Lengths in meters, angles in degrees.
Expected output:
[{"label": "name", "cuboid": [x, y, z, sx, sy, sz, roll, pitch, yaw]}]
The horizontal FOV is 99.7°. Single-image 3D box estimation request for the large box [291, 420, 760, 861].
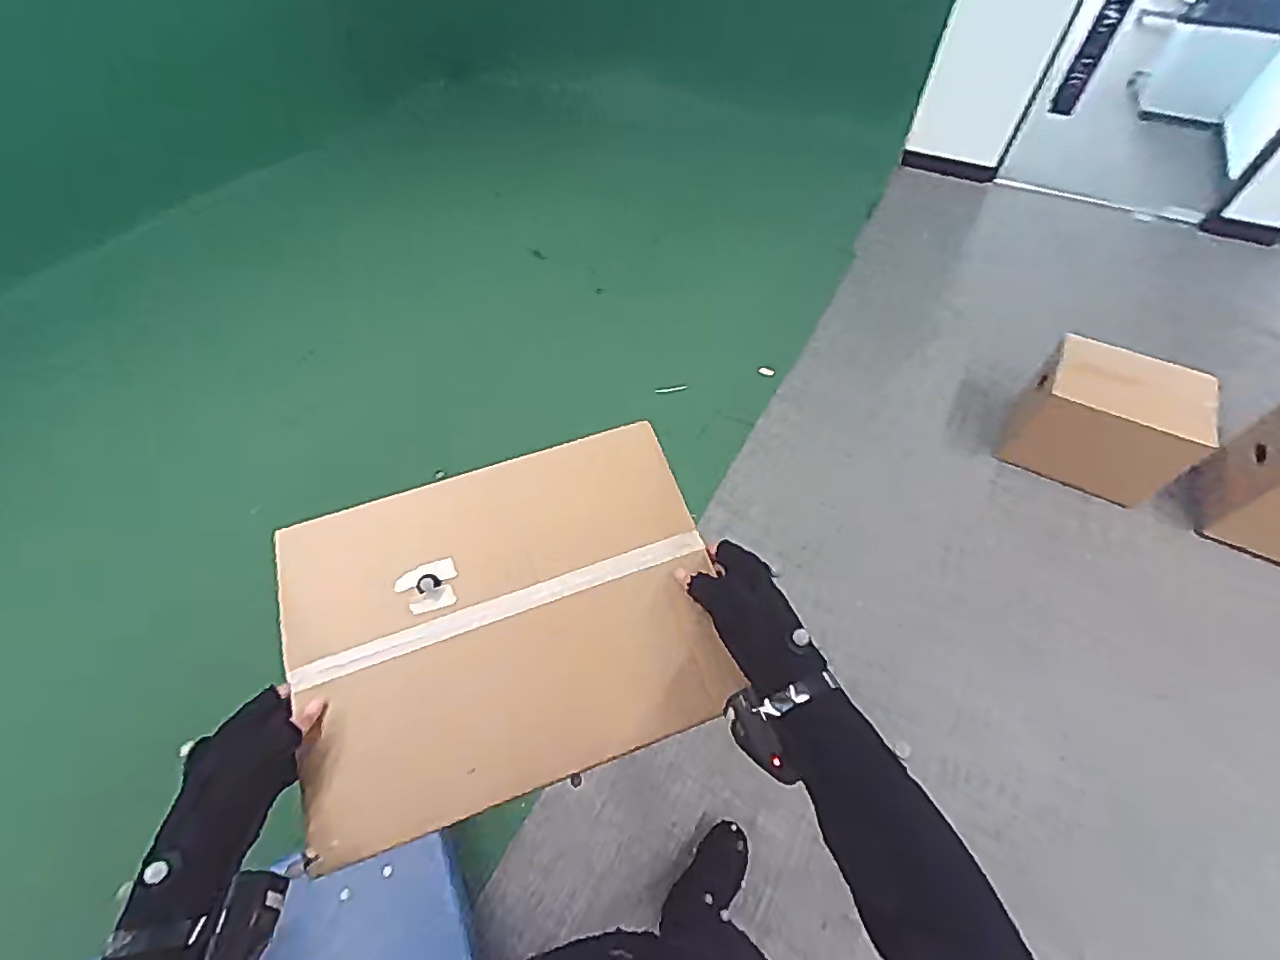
[{"label": "large box", "cuboid": [-0.123, 0.181, 0.662, 0.408, 0.320, 0.320, -17, 66, -8]}]
